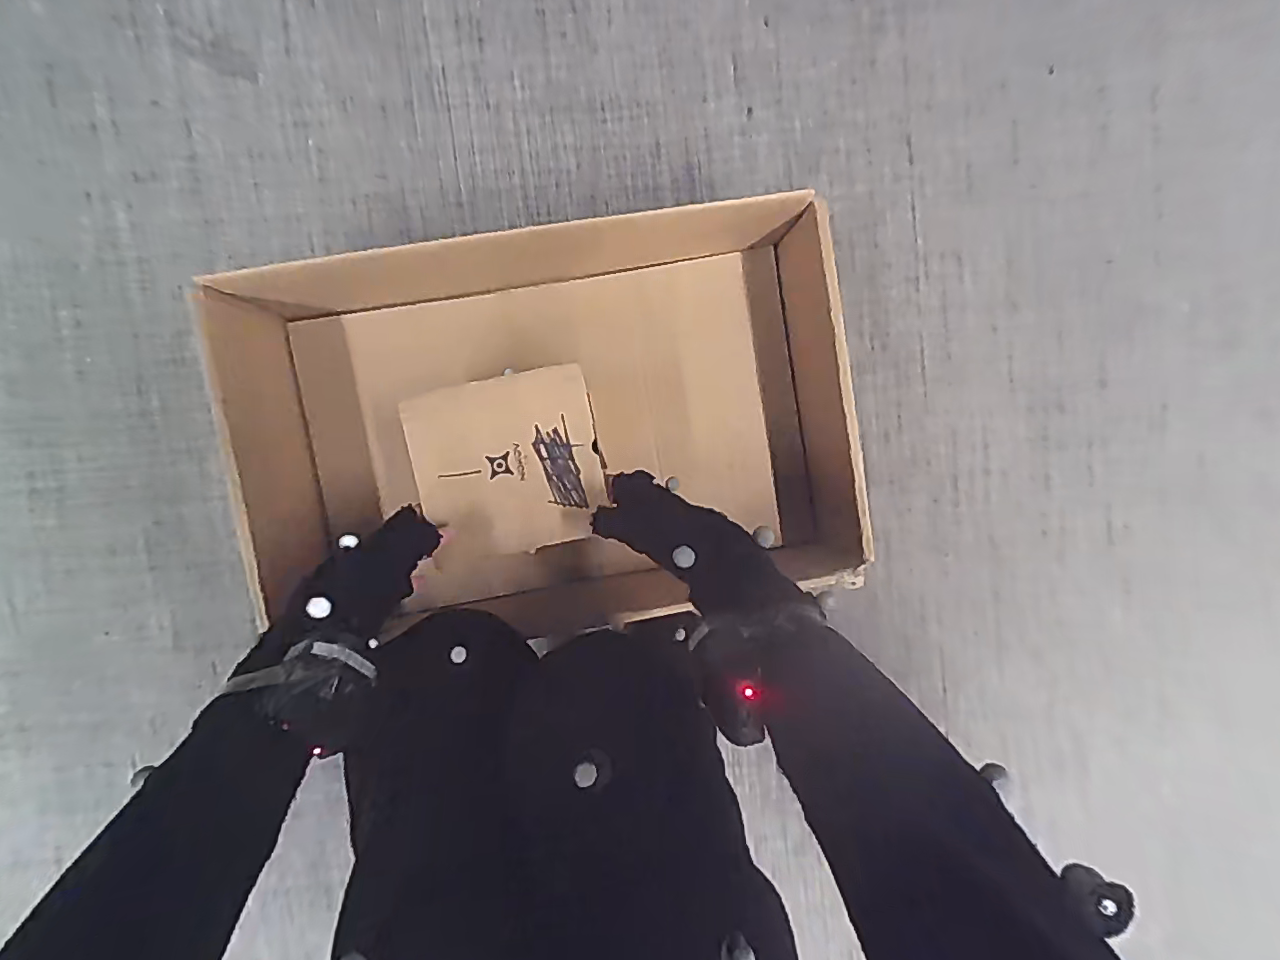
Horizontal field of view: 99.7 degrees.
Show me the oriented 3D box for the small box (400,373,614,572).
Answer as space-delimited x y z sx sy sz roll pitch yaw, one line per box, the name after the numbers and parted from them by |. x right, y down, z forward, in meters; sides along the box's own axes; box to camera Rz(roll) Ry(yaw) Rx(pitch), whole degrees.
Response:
-0.127 -0.010 0.584 0.179 0.176 0.168 -11 91 -2 | small box
